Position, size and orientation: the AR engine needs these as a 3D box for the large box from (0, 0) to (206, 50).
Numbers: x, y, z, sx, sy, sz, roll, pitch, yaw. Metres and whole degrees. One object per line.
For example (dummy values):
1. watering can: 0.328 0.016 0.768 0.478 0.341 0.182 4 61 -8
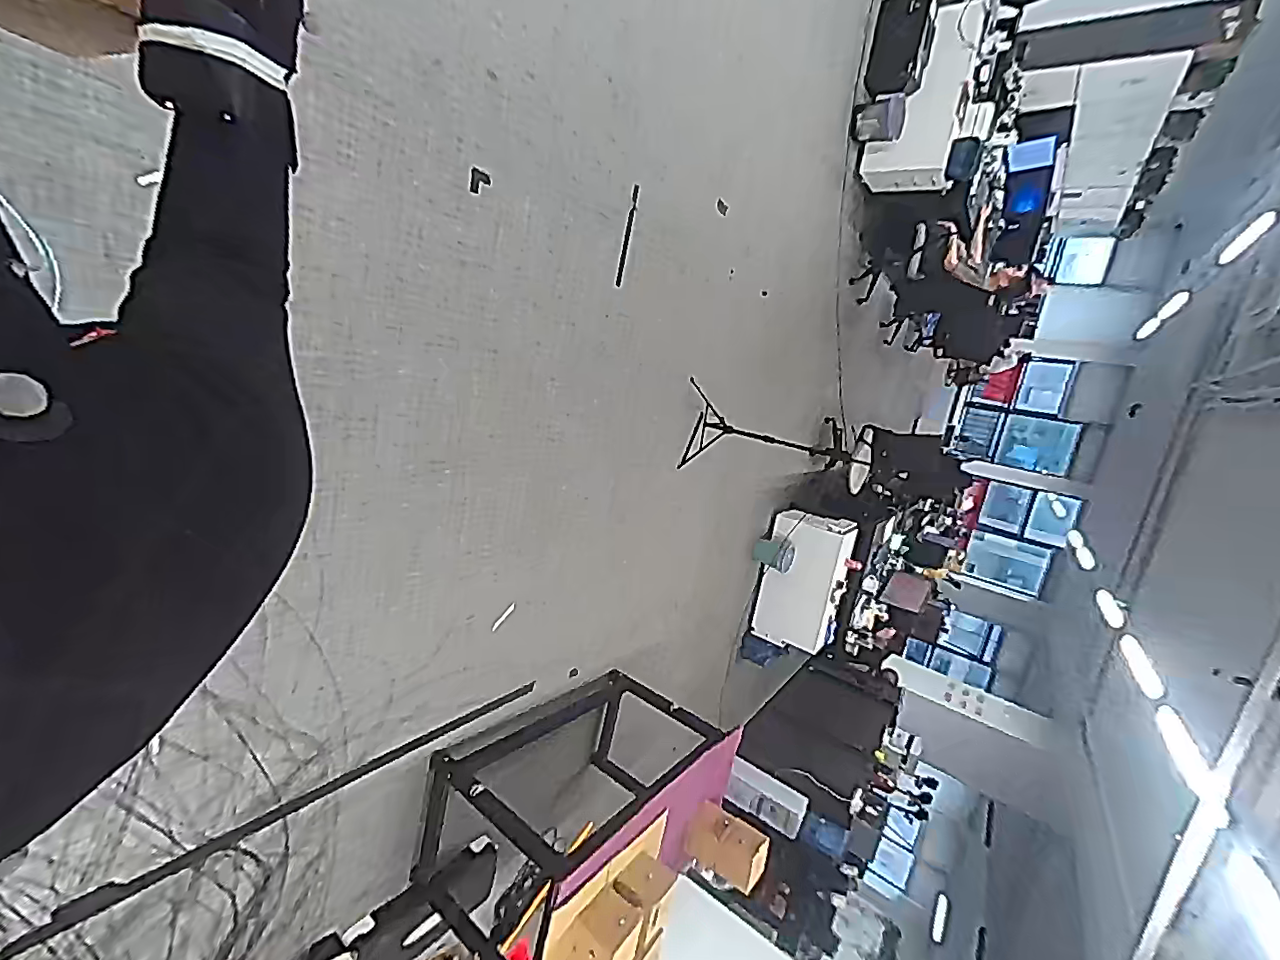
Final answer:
1. large box: -0.493 -0.487 0.249 0.408 0.320 0.320 -5 117 -57
